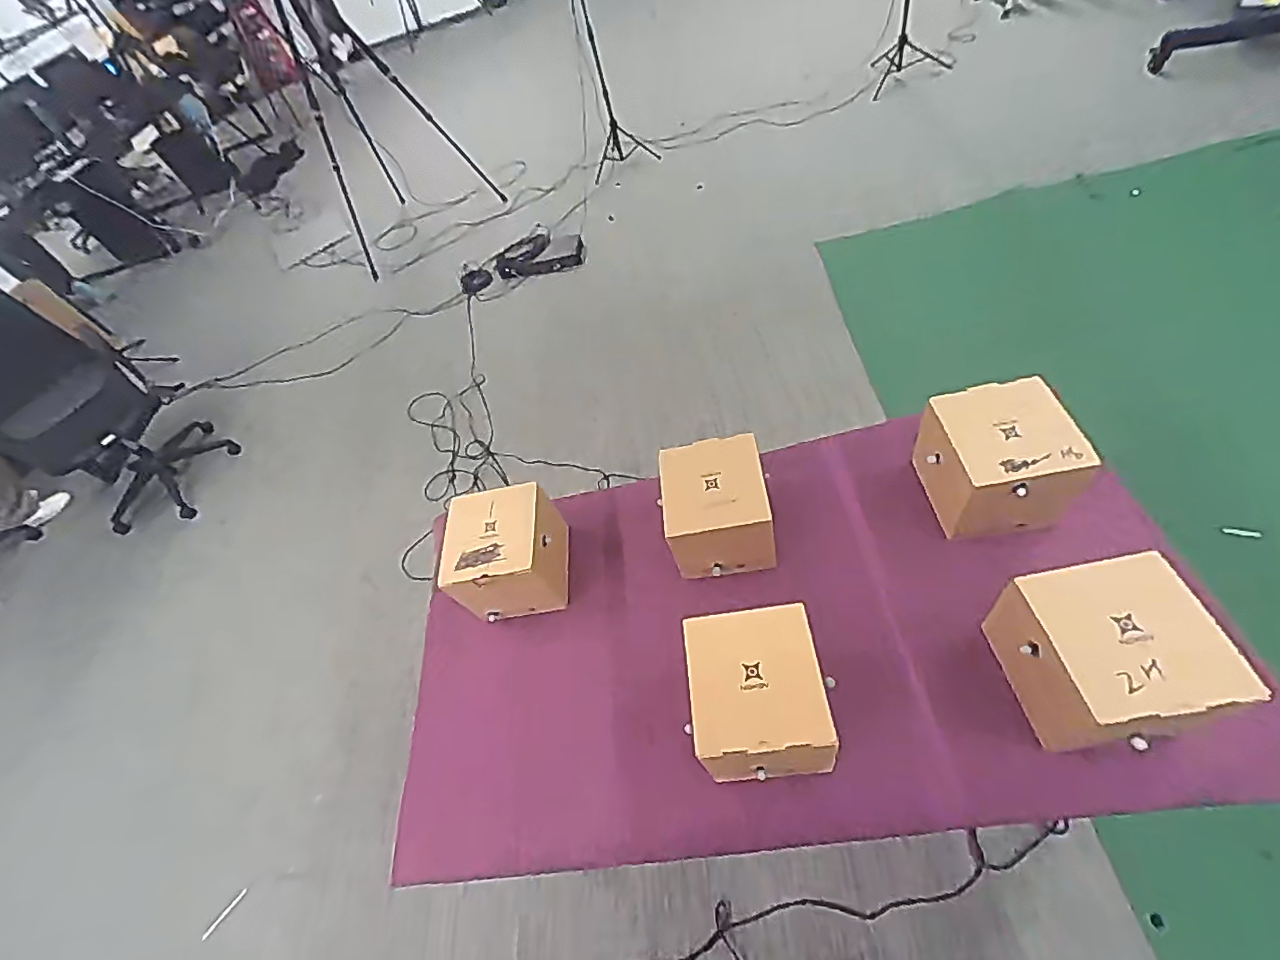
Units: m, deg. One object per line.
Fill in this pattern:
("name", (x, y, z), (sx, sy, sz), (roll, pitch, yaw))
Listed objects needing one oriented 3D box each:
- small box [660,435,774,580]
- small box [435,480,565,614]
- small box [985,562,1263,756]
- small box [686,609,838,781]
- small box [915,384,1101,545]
("small box", (0.132, 0.051, 0.921), (0.168, 0.176, 0.179), (-9, 55, 10))
("small box", (-0.236, 0.128, 0.961), (0.168, 0.176, 0.179), (-10, 55, 8))
("small box", (0.568, 0.227, 0.674), (0.168, 0.176, 0.179), (-13, 54, 8))
("small box", (0.160, 0.298, 0.740), (0.168, 0.176, 0.179), (-10, 53, 8))
("small box", (0.557, -0.020, 0.853), (0.168, 0.176, 0.179), (-11, 54, 9))
